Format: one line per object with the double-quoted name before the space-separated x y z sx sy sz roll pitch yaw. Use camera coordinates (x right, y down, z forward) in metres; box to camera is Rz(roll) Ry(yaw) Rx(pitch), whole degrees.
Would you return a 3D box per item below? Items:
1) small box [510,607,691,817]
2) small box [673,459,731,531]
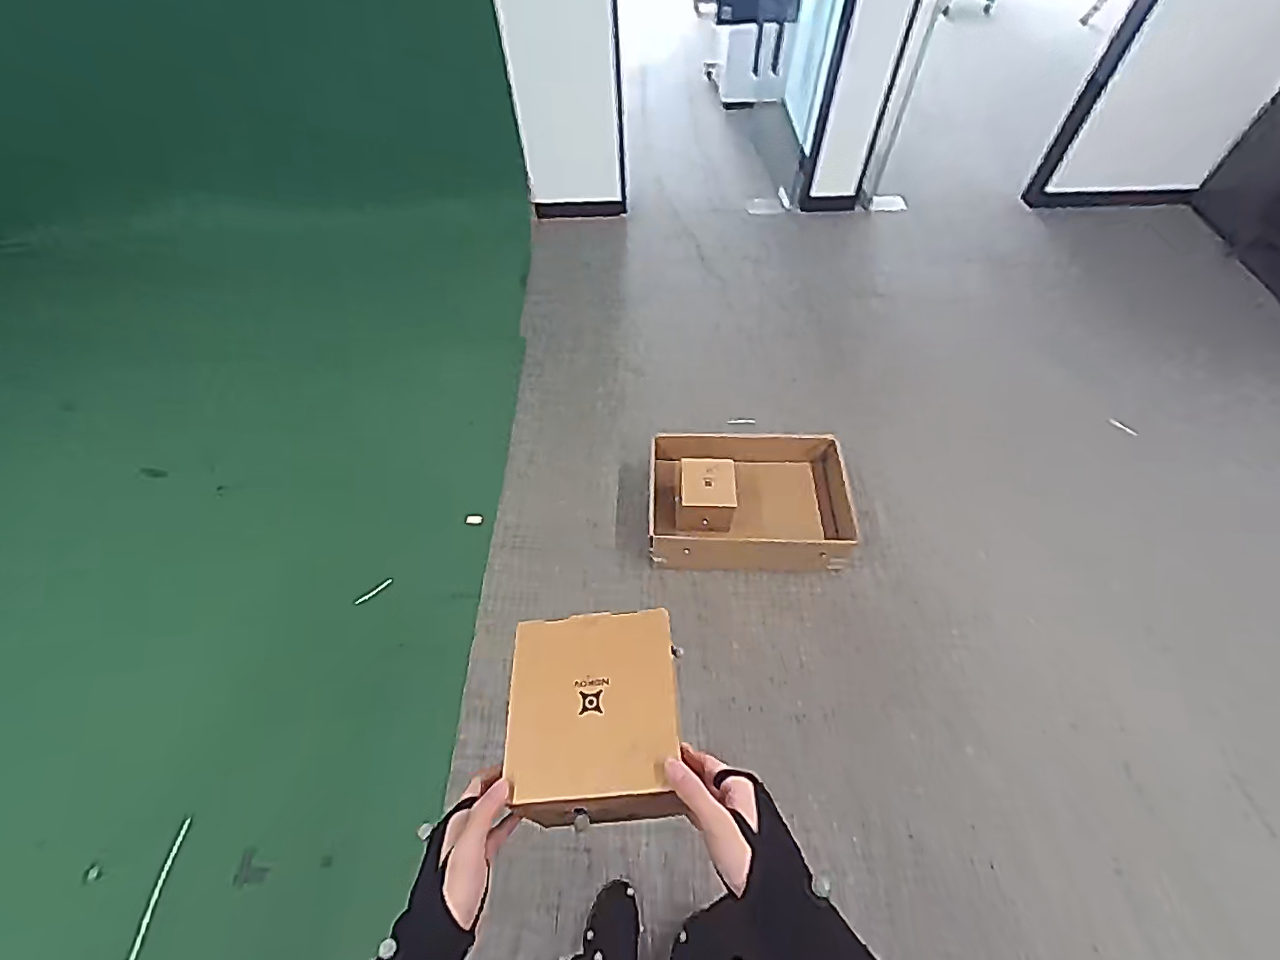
"small box" -0.034 0.264 0.602 0.168 0.176 0.179 -5 50 2
"small box" 0.194 0.053 1.730 0.168 0.176 0.179 2 56 0
